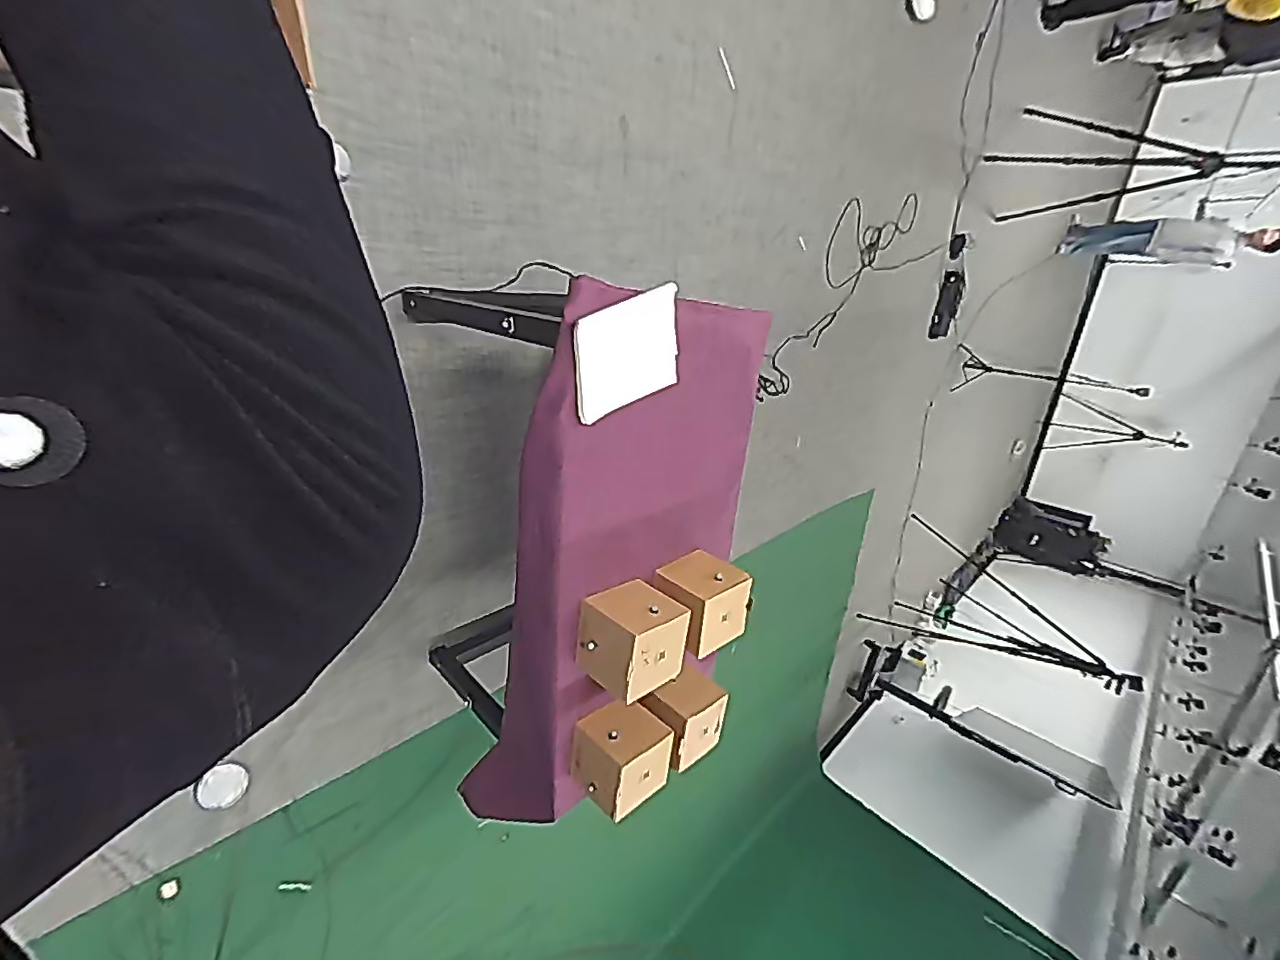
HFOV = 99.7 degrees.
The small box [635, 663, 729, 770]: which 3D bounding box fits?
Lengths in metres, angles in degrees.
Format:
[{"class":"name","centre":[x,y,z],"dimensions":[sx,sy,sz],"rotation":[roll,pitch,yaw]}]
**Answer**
[{"class":"small box","centre":[0.107,0.622,1.445],"dimensions":[0.179,0.176,0.168],"rotation":[-7,113,-44]}]

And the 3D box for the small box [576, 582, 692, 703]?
[{"class":"small box","centre":[-0.014,0.343,1.185],"dimensions":[0.179,0.176,0.168],"rotation":[-10,114,-45]}]

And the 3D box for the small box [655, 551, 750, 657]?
[{"class":"small box","centre":[0.146,0.300,1.342],"dimensions":[0.179,0.176,0.168],"rotation":[-17,119,-42]}]
